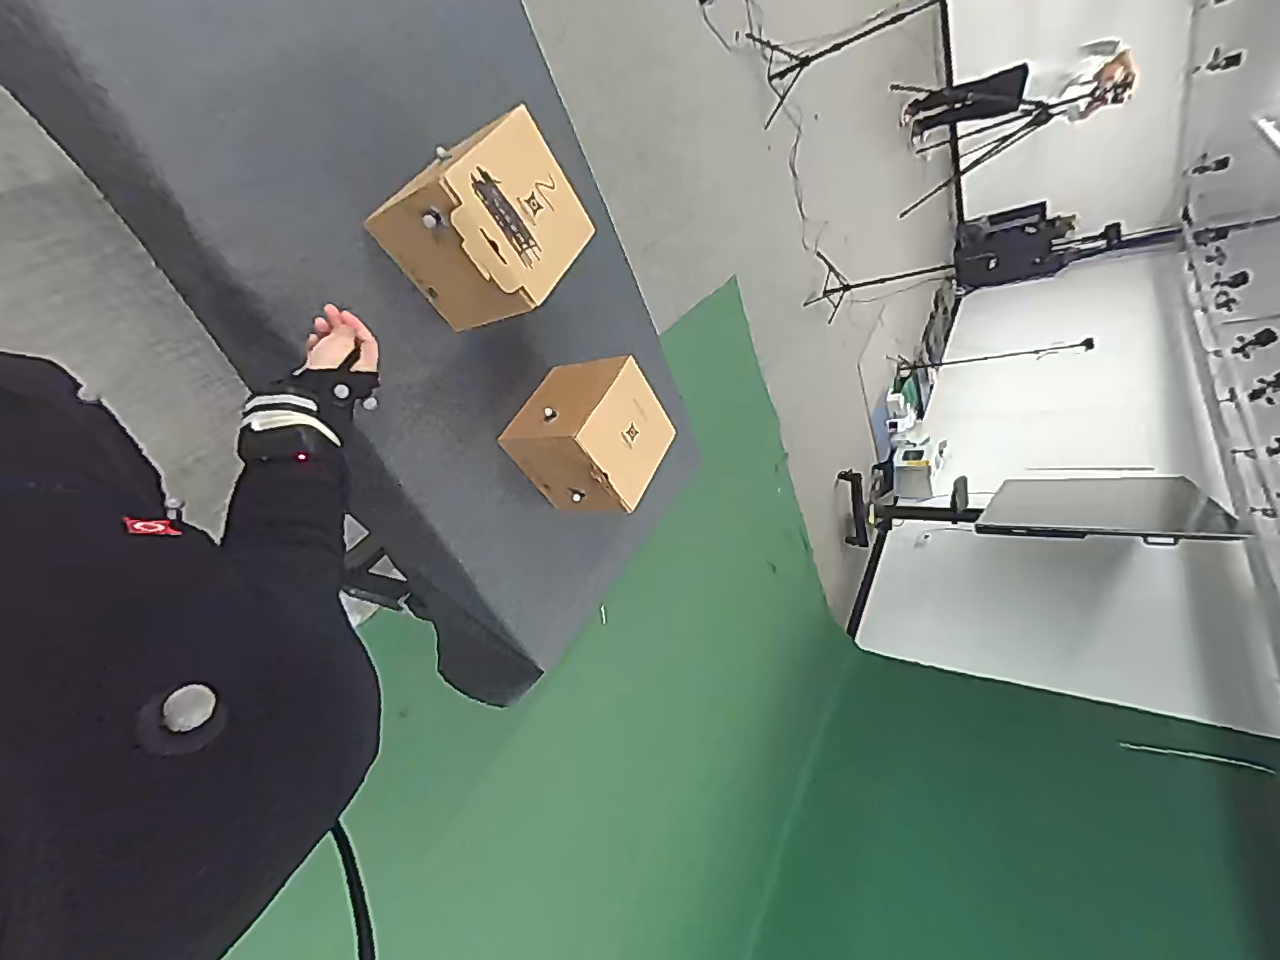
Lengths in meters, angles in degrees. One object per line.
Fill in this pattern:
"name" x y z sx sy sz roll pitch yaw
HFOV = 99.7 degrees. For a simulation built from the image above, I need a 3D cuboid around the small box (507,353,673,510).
"small box" -0.080 -0.072 0.848 0.168 0.176 0.179 56 49 -38
